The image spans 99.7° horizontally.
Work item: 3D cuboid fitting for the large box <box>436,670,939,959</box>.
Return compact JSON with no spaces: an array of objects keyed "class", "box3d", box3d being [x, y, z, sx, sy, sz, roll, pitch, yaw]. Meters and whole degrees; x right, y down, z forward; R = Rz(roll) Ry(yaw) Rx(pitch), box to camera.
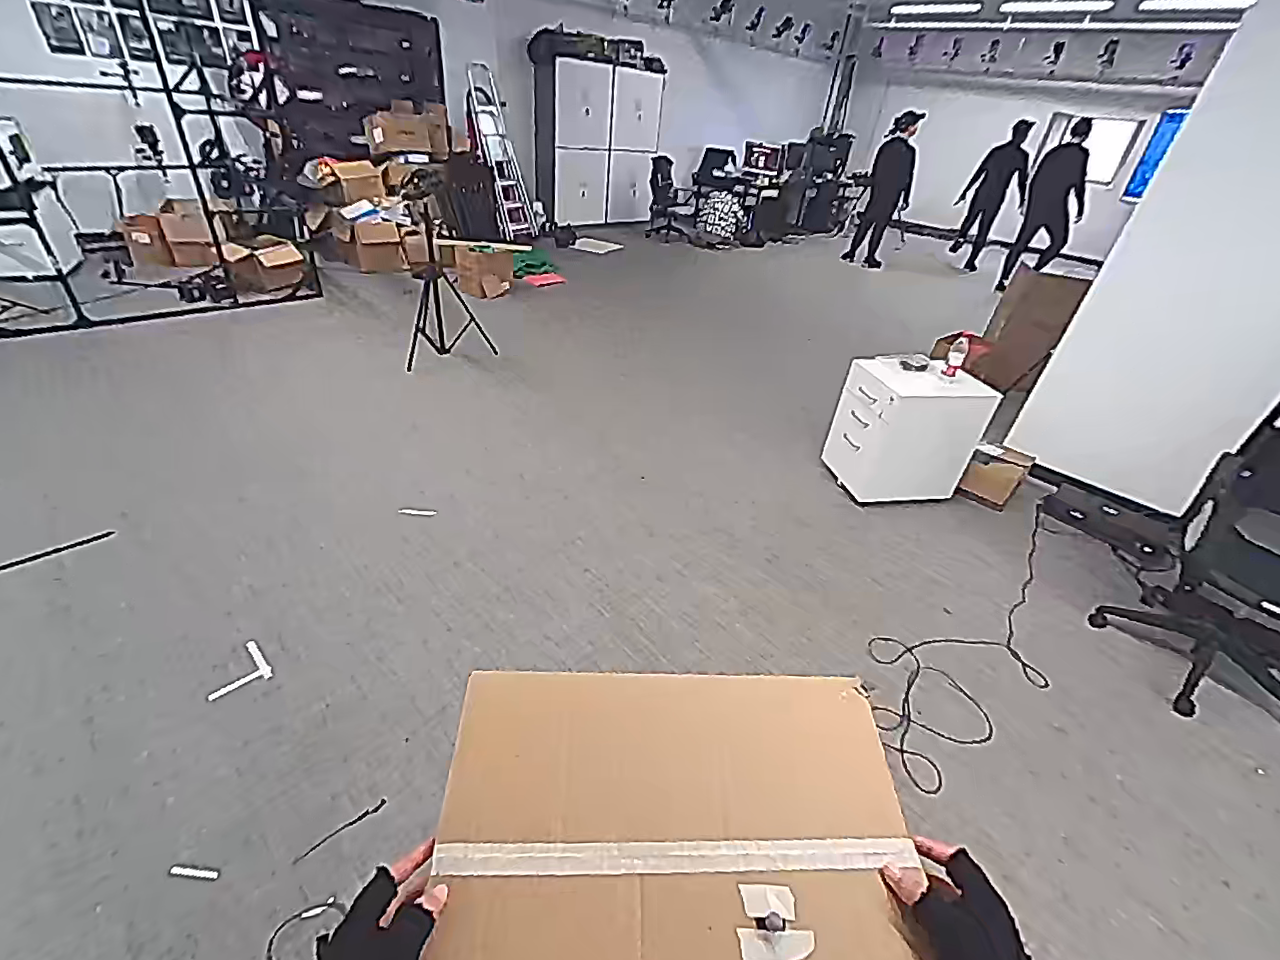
[{"class":"large box","box3d":[0.026,0.419,0.579,0.408,0.320,0.320,3,47,-4]}]
